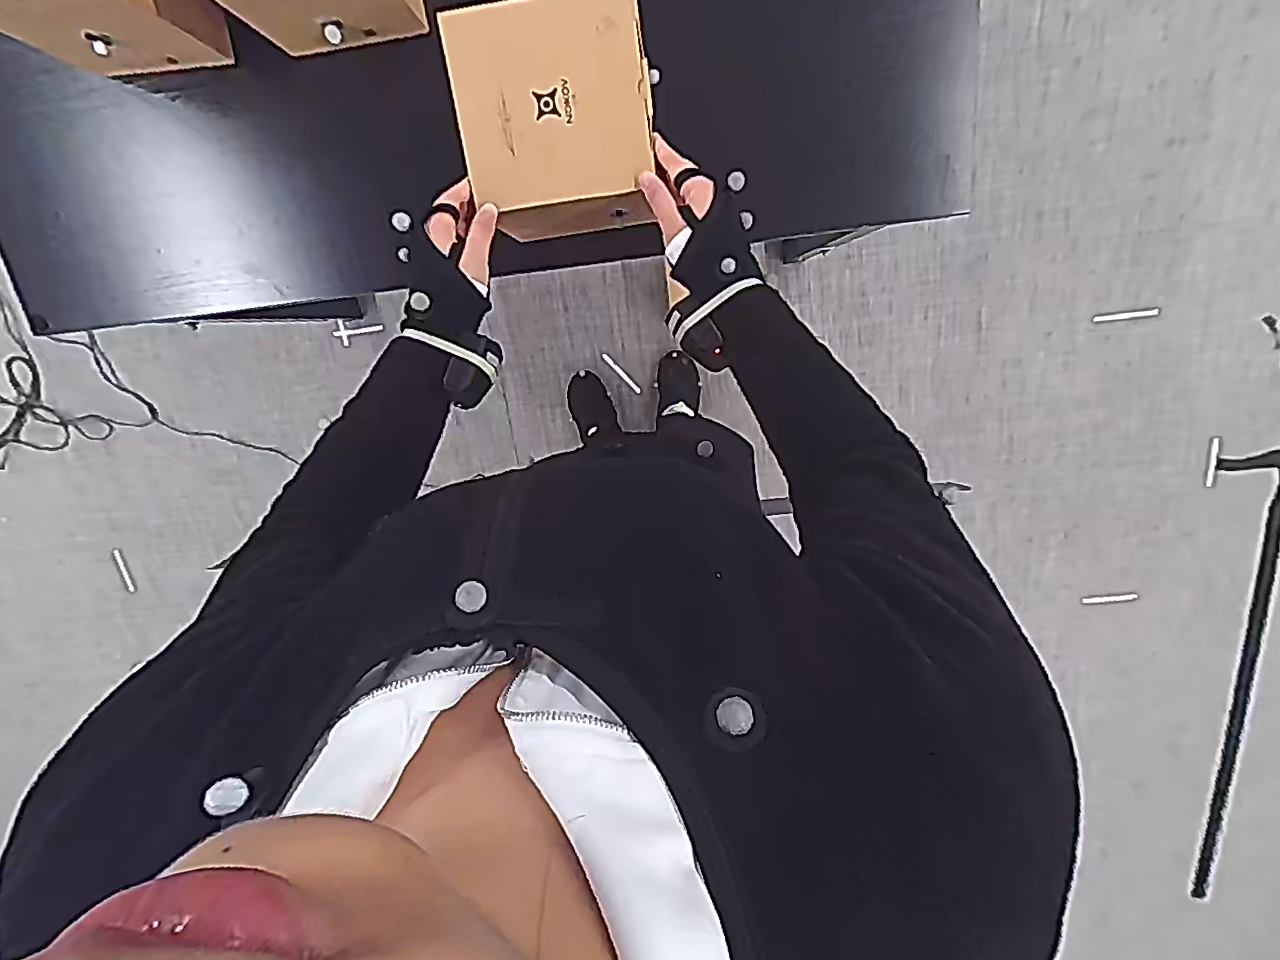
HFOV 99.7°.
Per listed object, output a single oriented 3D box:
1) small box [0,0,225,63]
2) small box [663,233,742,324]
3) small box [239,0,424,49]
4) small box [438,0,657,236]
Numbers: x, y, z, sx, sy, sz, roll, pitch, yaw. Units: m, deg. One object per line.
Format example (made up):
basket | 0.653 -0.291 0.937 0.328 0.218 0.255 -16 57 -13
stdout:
small box | -0.555 -0.538 0.524 0.168 0.176 0.179 -4 106 2
small box | 0.144 -0.469 1.282 0.168 0.176 0.179 -7 106 5
small box | -0.331 -0.558 0.511 0.168 0.176 0.179 -7 107 4
small box | -0.078 -0.364 0.562 0.179 0.176 0.168 -7 104 5
